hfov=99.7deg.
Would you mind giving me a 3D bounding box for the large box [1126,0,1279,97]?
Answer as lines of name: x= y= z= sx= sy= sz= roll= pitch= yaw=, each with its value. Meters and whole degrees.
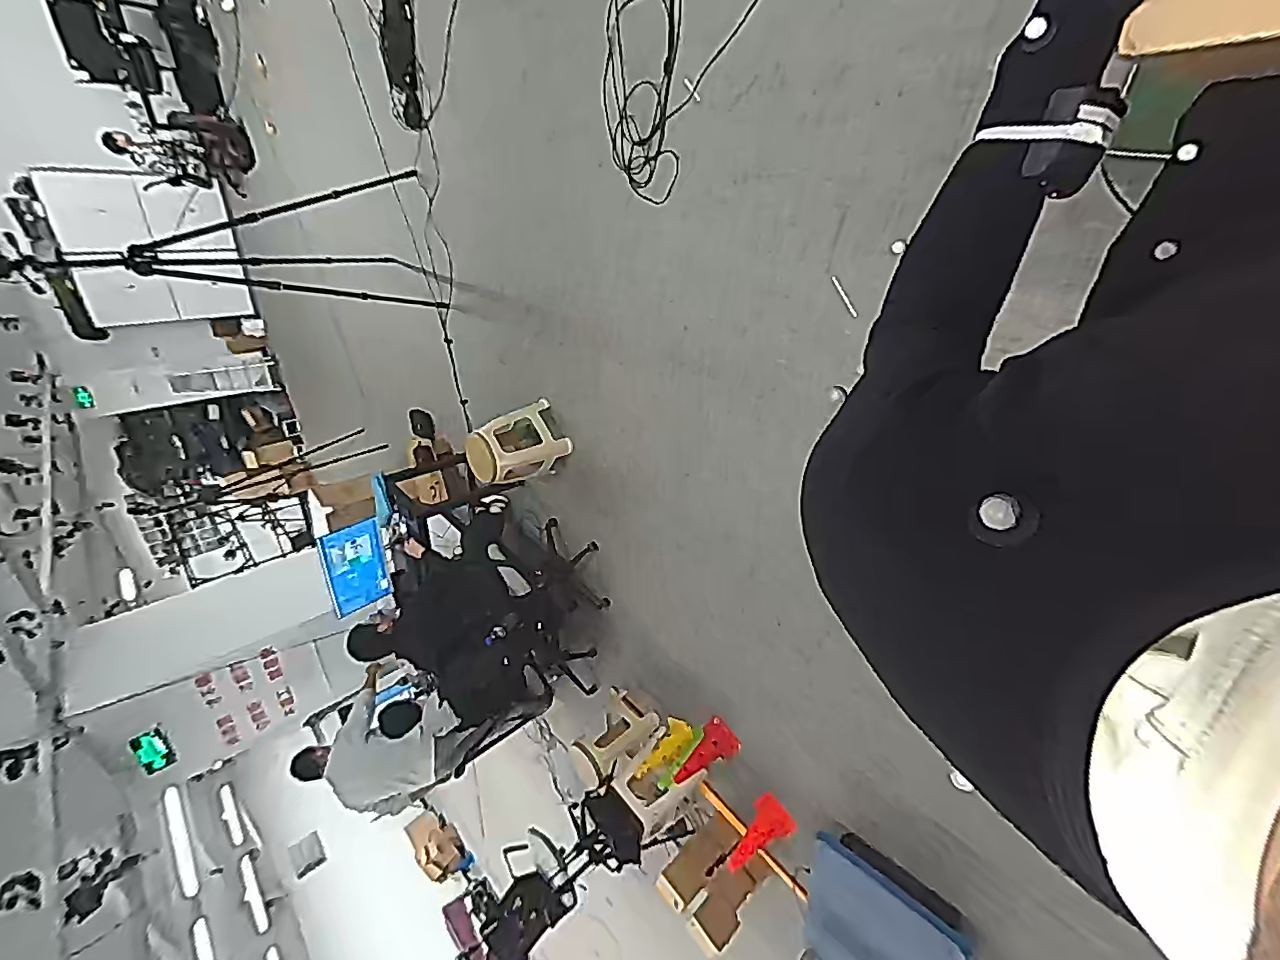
large box: x=0.597 y=-0.443 z=0.304 sx=0.408 sy=0.320 sz=0.320 roll=23 pitch=128 yaw=39
